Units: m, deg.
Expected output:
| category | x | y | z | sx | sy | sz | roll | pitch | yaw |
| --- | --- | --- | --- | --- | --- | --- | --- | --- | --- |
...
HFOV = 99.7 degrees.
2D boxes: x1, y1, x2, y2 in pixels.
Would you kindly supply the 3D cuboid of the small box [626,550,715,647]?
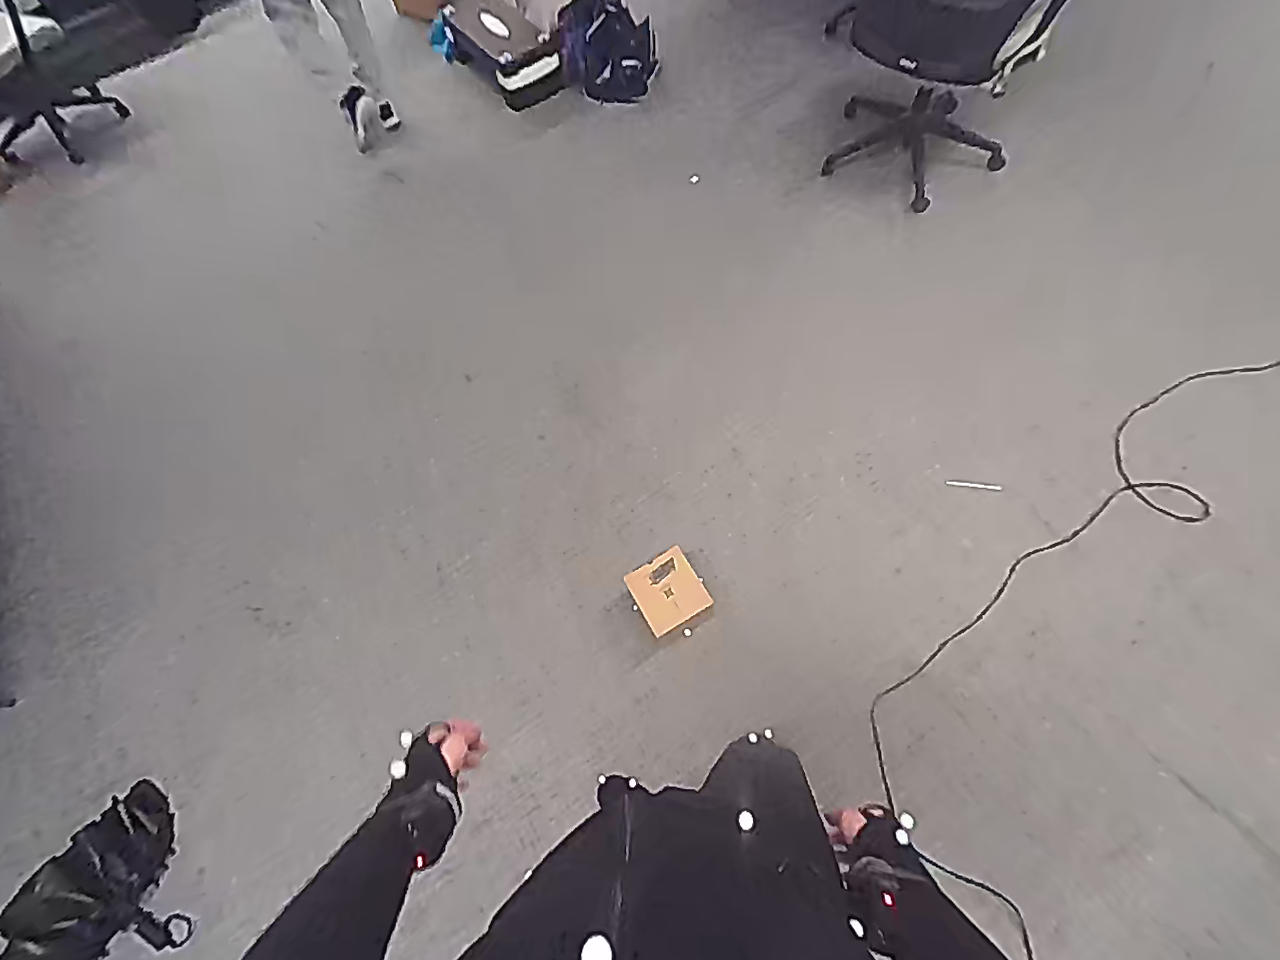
| category | x | y | z | sx | sy | sz | roll | pitch | yaw |
| --- | --- | --- | --- | --- | --- | --- | --- | --- | --- |
| small box | 0.082 | 0.316 | 1.419 | 0.168 | 0.176 | 0.179 | -31 | 66 | -6 |
